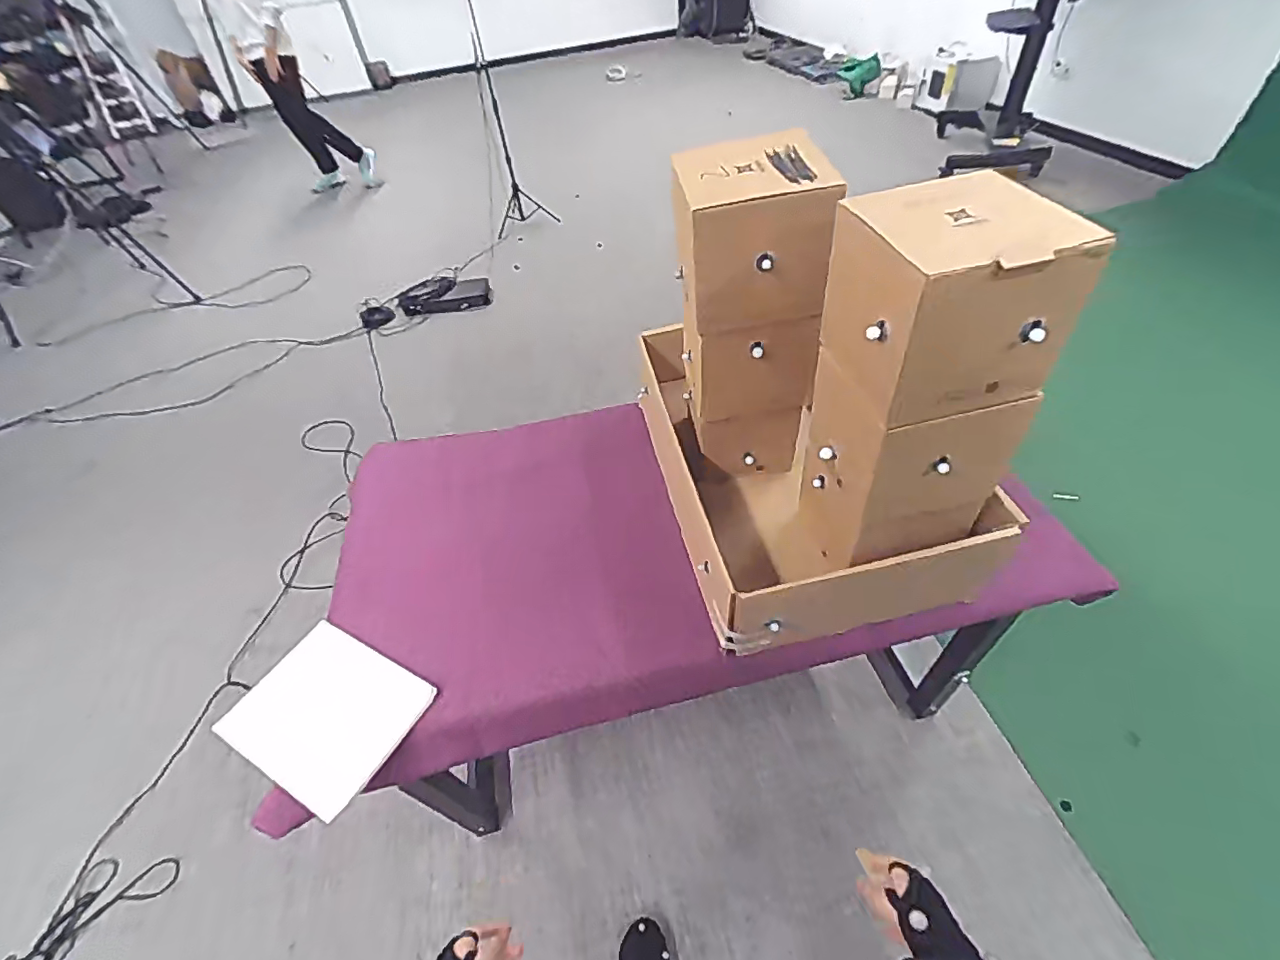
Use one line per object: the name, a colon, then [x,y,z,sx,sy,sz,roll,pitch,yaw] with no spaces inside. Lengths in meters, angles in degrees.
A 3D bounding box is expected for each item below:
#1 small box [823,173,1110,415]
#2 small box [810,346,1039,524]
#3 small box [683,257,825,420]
small box: [0.305,-0.184,0.556,0.168,0.176,0.179,-12,46,-1]
small box: [0.329,-0.069,0.670,0.179,0.176,0.168,-13,46,-1]
small box: [0.166,-0.214,0.834,0.179,0.176,0.168,-9,50,1]
